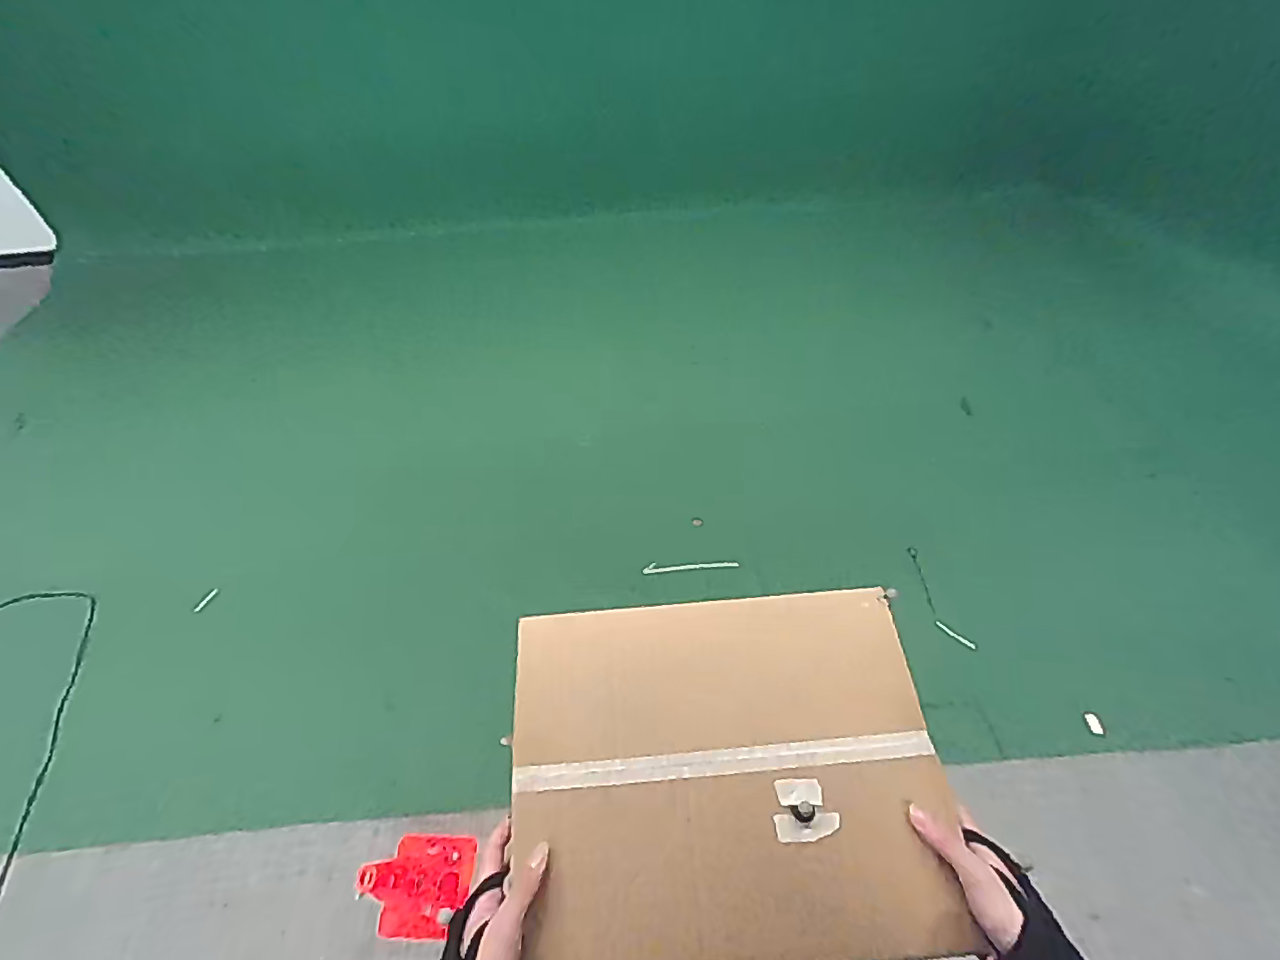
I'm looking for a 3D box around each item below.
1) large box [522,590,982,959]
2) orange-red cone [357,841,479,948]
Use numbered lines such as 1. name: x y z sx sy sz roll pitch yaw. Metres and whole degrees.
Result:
1. large box: 0.086 0.351 0.659 0.408 0.320 0.320 -5 60 -1
2. orange-red cone: -0.508 0.873 1.155 0.199 0.360 0.198 0 51 5
